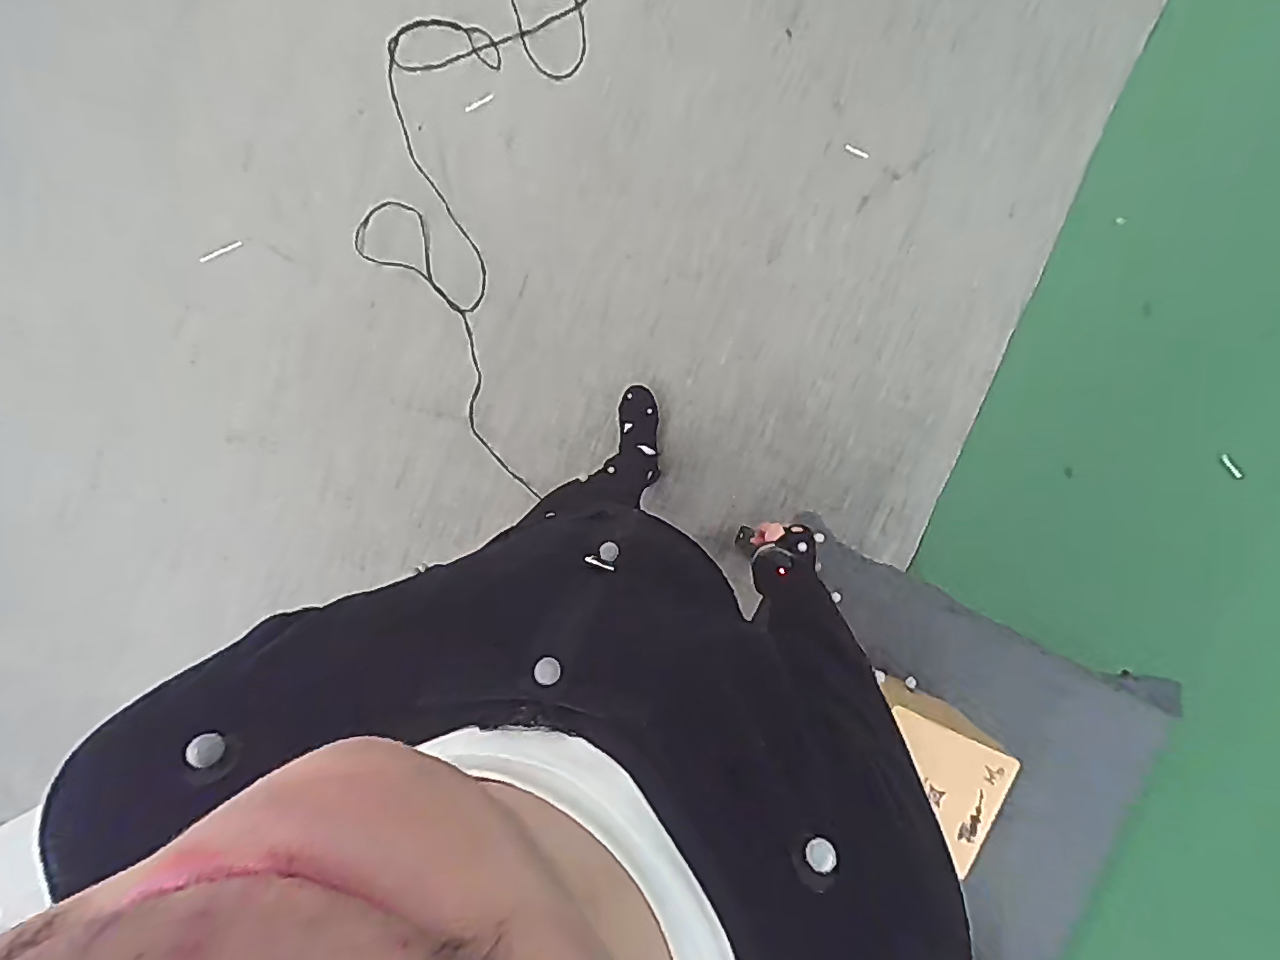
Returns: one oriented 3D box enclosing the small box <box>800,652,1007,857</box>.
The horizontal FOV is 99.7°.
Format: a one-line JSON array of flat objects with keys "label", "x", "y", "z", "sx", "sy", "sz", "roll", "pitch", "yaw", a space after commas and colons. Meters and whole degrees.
[{"label": "small box", "x": 0.350, "y": 0.365, "z": 0.759, "sx": 0.179, "sy": 0.176, "sz": 0.168, "roll": 25, "pitch": 93, "yaw": 0}]
